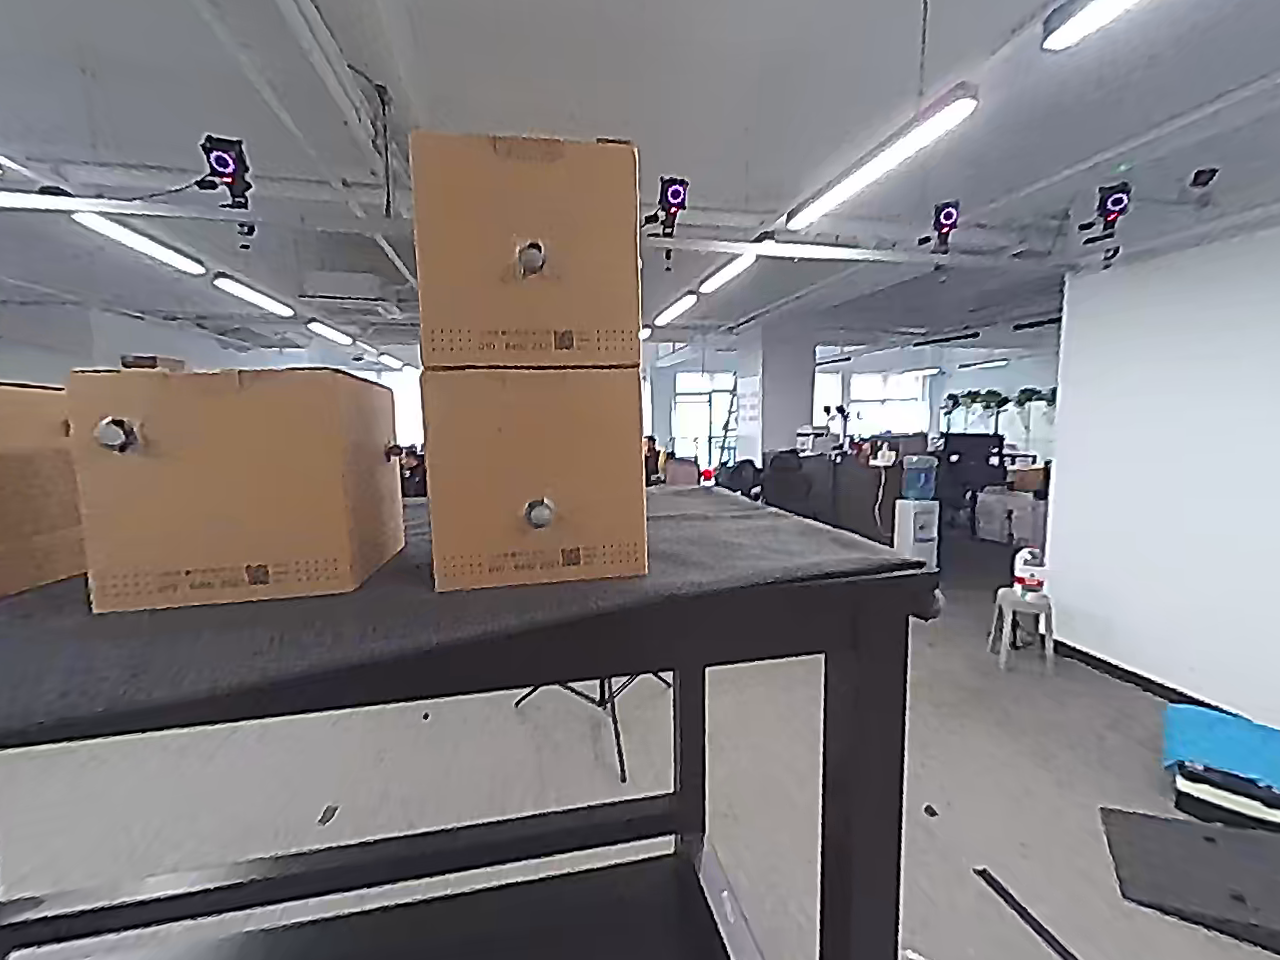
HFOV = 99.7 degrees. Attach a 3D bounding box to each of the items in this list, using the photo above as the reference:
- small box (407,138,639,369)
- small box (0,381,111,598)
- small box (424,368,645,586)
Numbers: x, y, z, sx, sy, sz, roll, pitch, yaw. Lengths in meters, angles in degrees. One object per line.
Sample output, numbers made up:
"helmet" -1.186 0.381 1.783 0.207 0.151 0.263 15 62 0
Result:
"small box" -0.095 -0.171 0.482 0.168 0.176 0.179 -2 6 -10
"small box" -0.566 0.012 0.418 0.168 0.176 0.179 -2 5 -10
"small box" -0.092 -0.008 0.497 0.168 0.176 0.179 -4 6 -11
